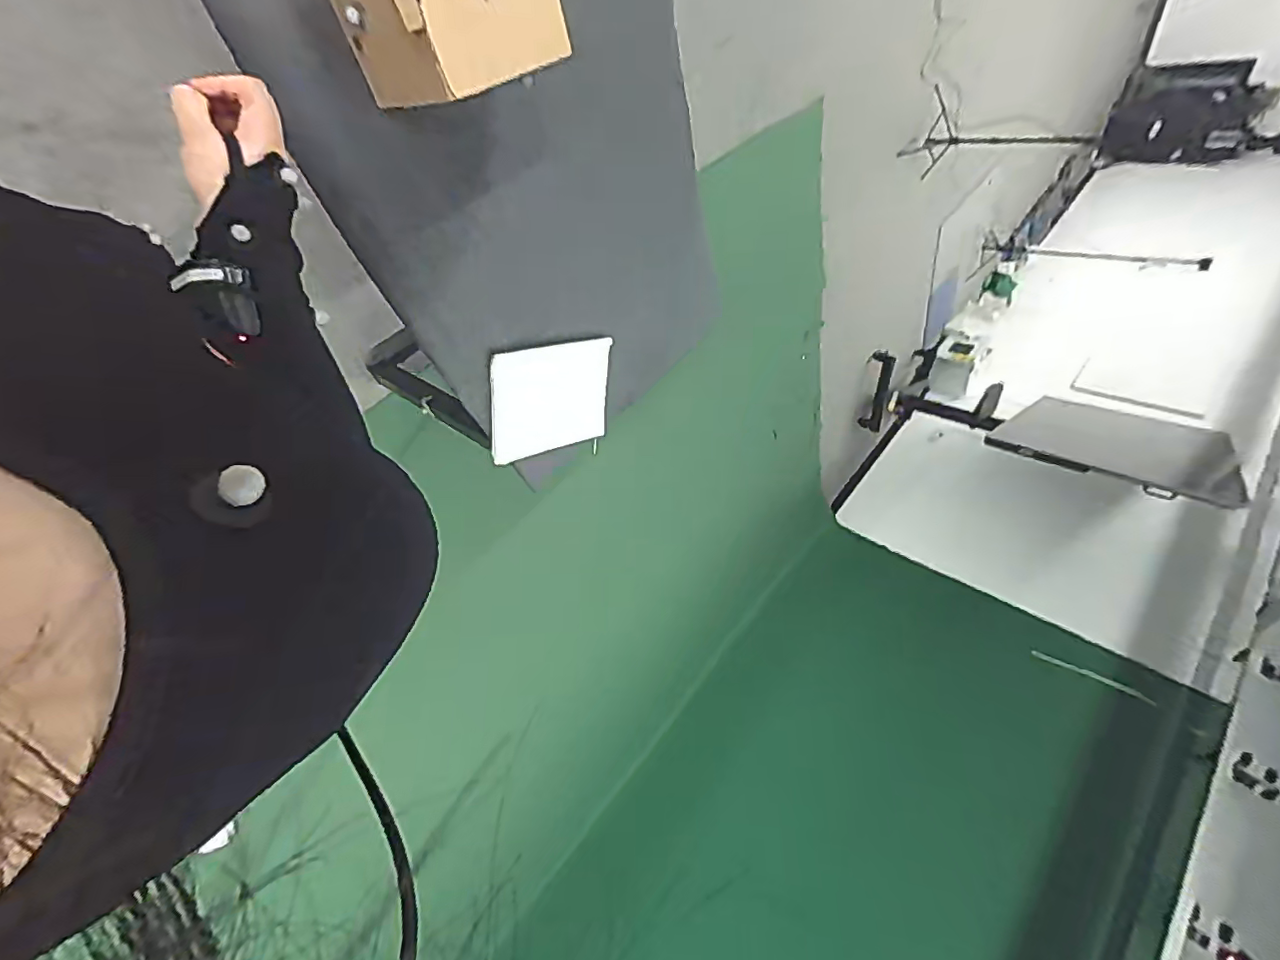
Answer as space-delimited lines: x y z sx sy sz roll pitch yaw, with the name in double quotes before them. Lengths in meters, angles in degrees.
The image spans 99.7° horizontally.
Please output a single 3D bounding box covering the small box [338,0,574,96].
"small box" -0.204 -0.529 0.569 0.179 0.176 0.168 -43 138 -25
